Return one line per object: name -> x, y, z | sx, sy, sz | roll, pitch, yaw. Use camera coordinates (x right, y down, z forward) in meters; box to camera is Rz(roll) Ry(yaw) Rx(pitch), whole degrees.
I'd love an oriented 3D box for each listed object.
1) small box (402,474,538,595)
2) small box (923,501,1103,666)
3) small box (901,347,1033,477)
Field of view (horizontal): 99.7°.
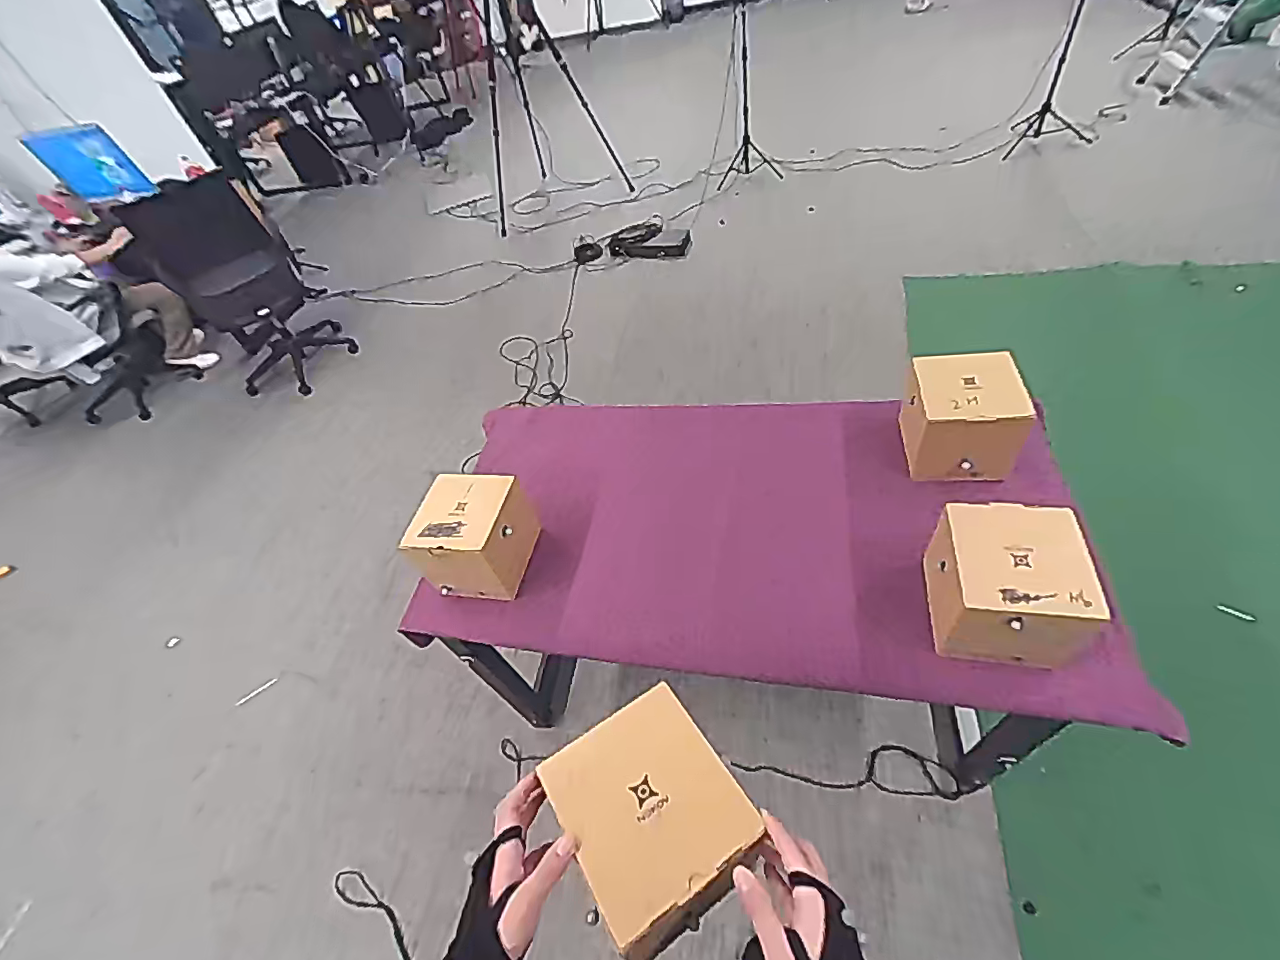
small box -> -0.317, 0.108, 1.054 | 0.168, 0.176, 0.179 | 2, 50, 15
small box -> 0.530, 0.152, 0.802 | 0.168, 0.176, 0.179 | 1, 52, 17
small box -> 0.597, -0.125, 1.015 | 0.168, 0.176, 0.179 | -2, 51, 17
